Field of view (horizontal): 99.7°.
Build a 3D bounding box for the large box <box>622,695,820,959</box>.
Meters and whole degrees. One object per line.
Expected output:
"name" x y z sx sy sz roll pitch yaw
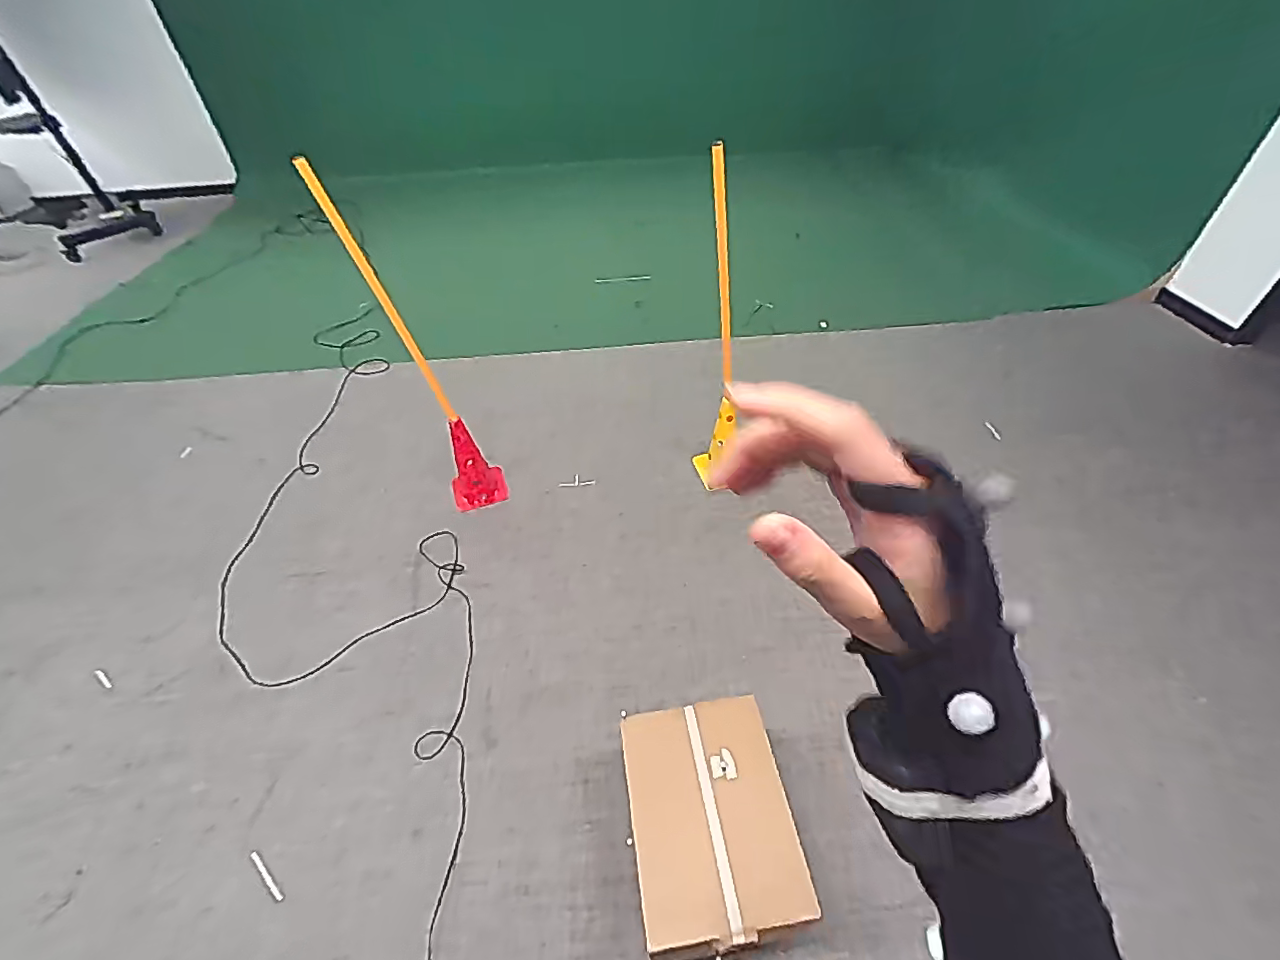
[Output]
"large box" 0.149 0.753 1.182 0.320 0.320 0.408 -7 44 -4
